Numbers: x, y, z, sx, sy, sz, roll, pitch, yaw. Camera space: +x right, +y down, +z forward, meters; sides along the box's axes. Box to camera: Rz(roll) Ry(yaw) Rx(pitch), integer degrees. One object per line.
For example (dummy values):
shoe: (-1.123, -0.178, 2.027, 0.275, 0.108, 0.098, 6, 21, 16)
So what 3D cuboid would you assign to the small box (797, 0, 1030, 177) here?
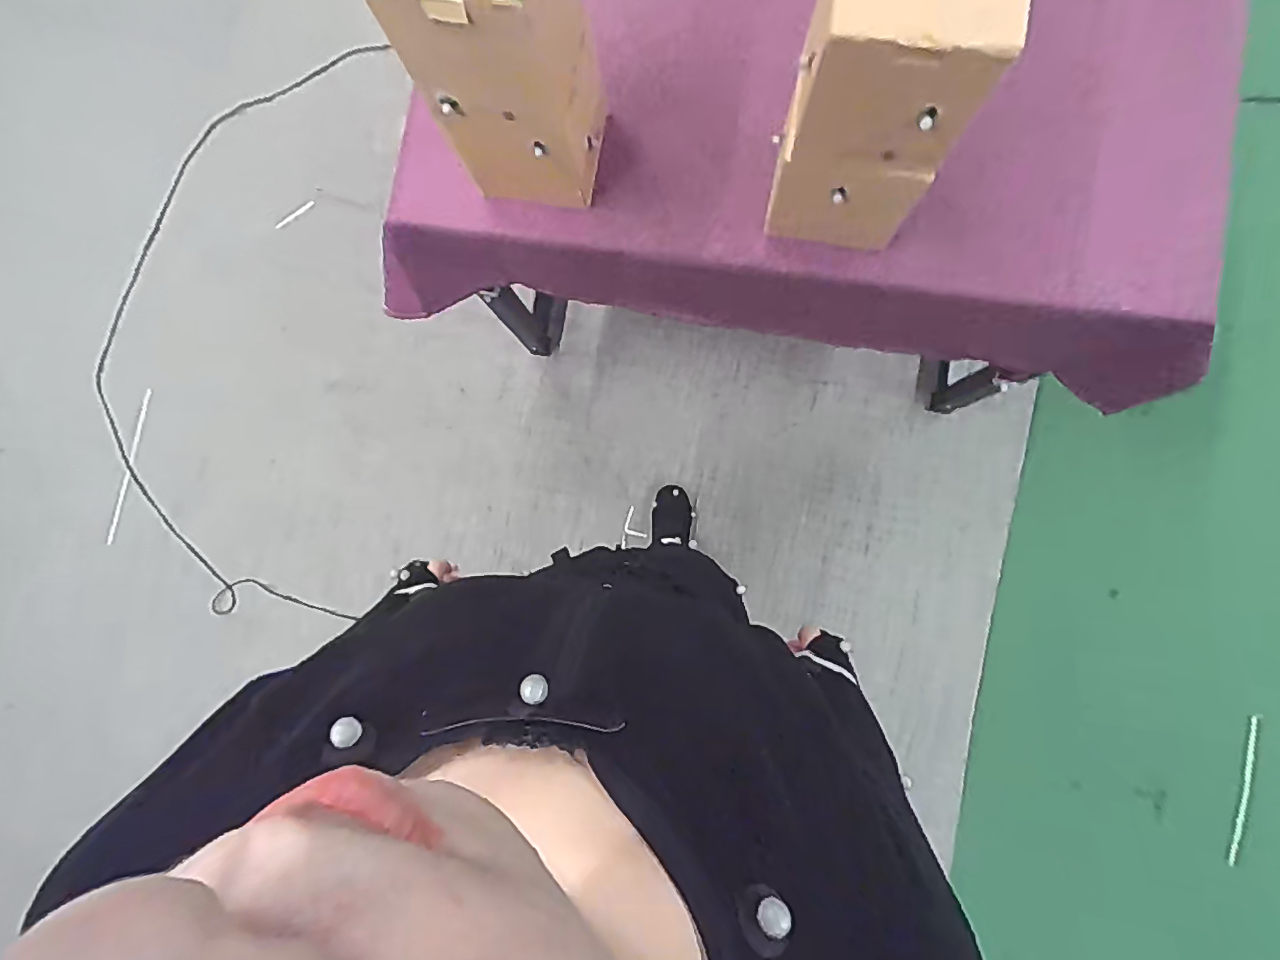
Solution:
small box: (0.269, -0.448, 0.557, 0.168, 0.176, 0.179, 10, 86, 4)

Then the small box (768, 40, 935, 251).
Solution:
small box: (0.278, -0.430, 0.719, 0.179, 0.176, 0.168, 12, 87, 5)

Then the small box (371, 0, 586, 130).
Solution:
small box: (-0.162, -0.527, 0.594, 0.168, 0.176, 0.179, 10, 85, 4)

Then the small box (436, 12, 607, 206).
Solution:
small box: (-0.153, -0.513, 0.757, 0.179, 0.176, 0.168, 10, 86, 4)
